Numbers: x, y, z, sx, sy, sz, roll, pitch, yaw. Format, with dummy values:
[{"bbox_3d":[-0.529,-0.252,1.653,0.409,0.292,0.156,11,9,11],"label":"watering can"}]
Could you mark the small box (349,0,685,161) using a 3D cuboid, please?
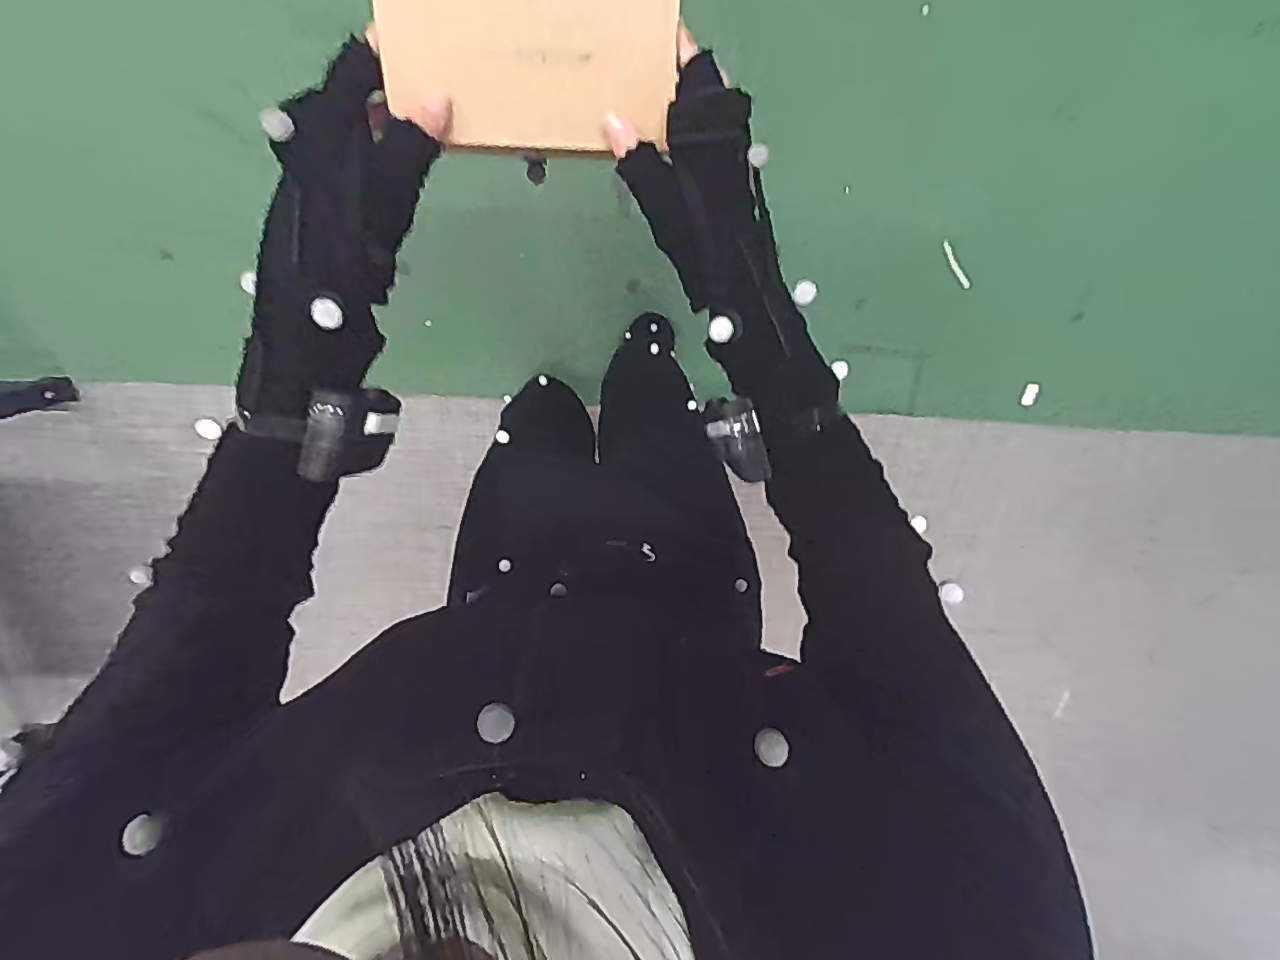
[{"bbox_3d":[-0.063,-0.300,0.322,0.168,0.176,0.179,1,119,-5],"label":"small box"}]
